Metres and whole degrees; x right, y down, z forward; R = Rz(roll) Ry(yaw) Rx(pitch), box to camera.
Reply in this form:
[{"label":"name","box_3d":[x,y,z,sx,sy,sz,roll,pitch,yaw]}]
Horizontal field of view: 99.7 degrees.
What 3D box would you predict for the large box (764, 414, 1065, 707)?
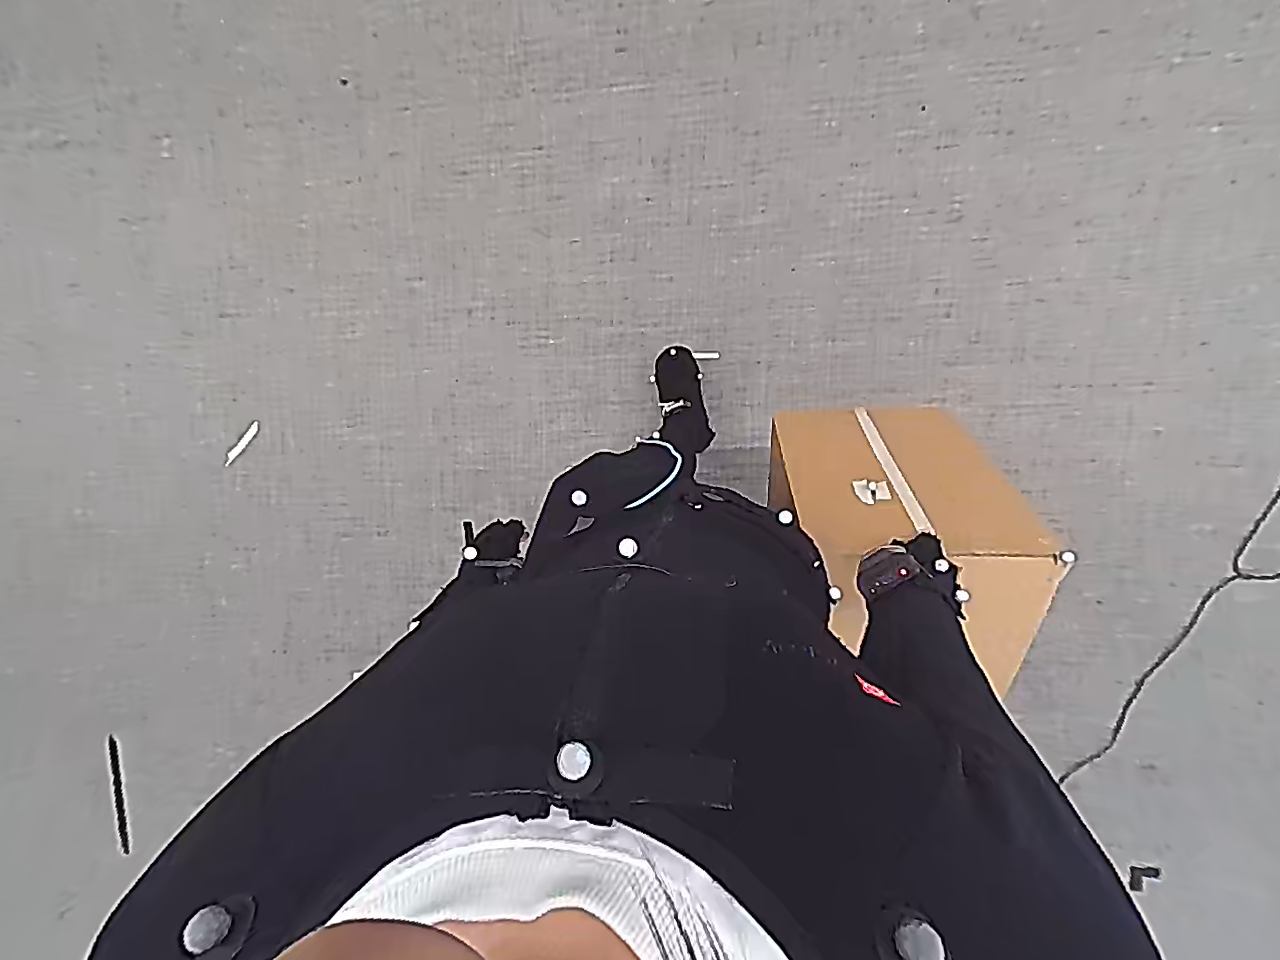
[{"label":"large box","box_3d":[0.397,0.117,0.924,0.320,0.408,0.320,-1,124,7]}]
